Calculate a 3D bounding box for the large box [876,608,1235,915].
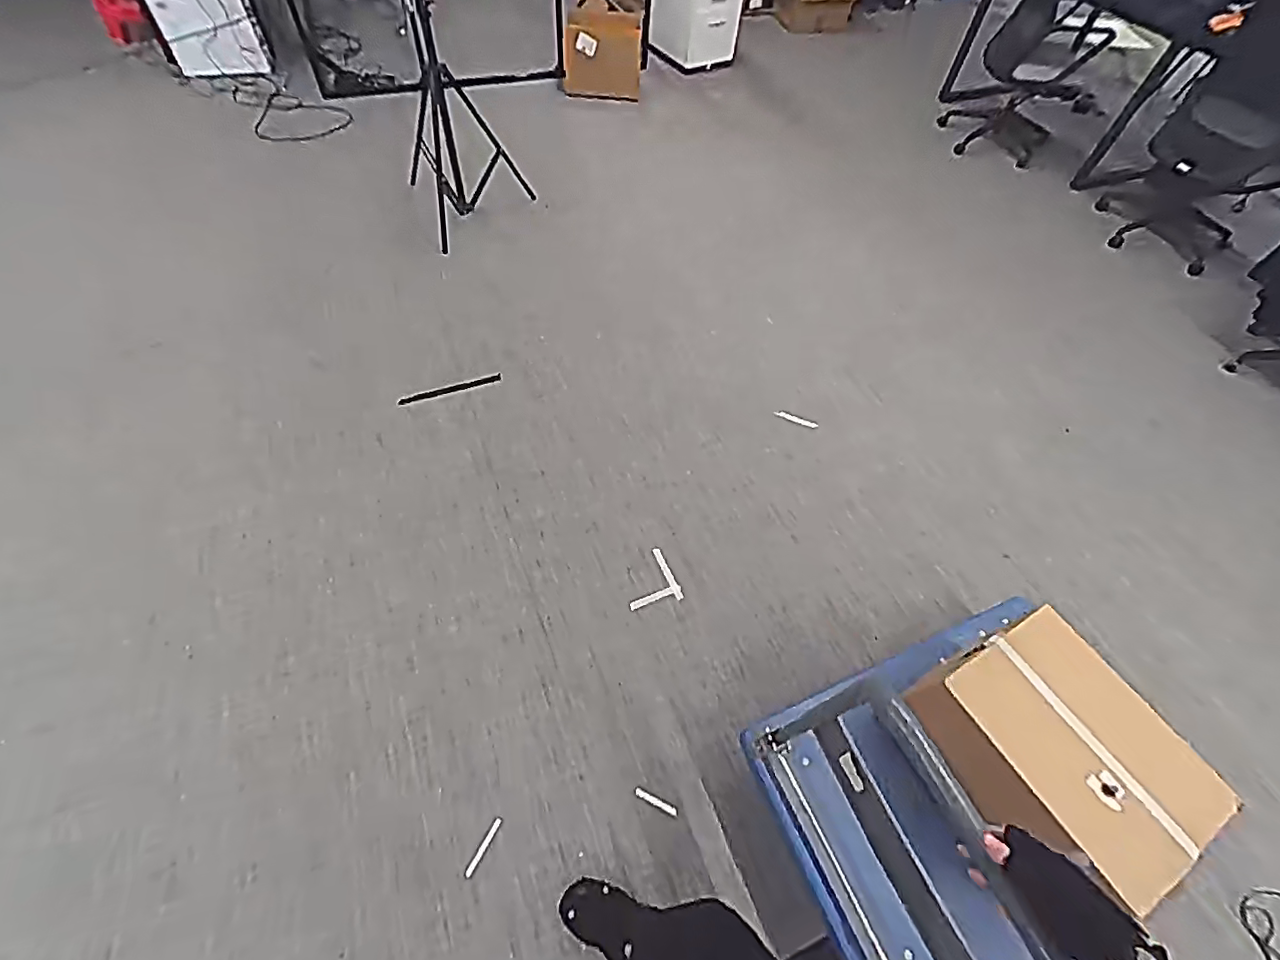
[{"bbox_3d":[0.776,0.542,1.082,0.320,0.320,0.408,-25,62,-18],"label":"large box"}]
